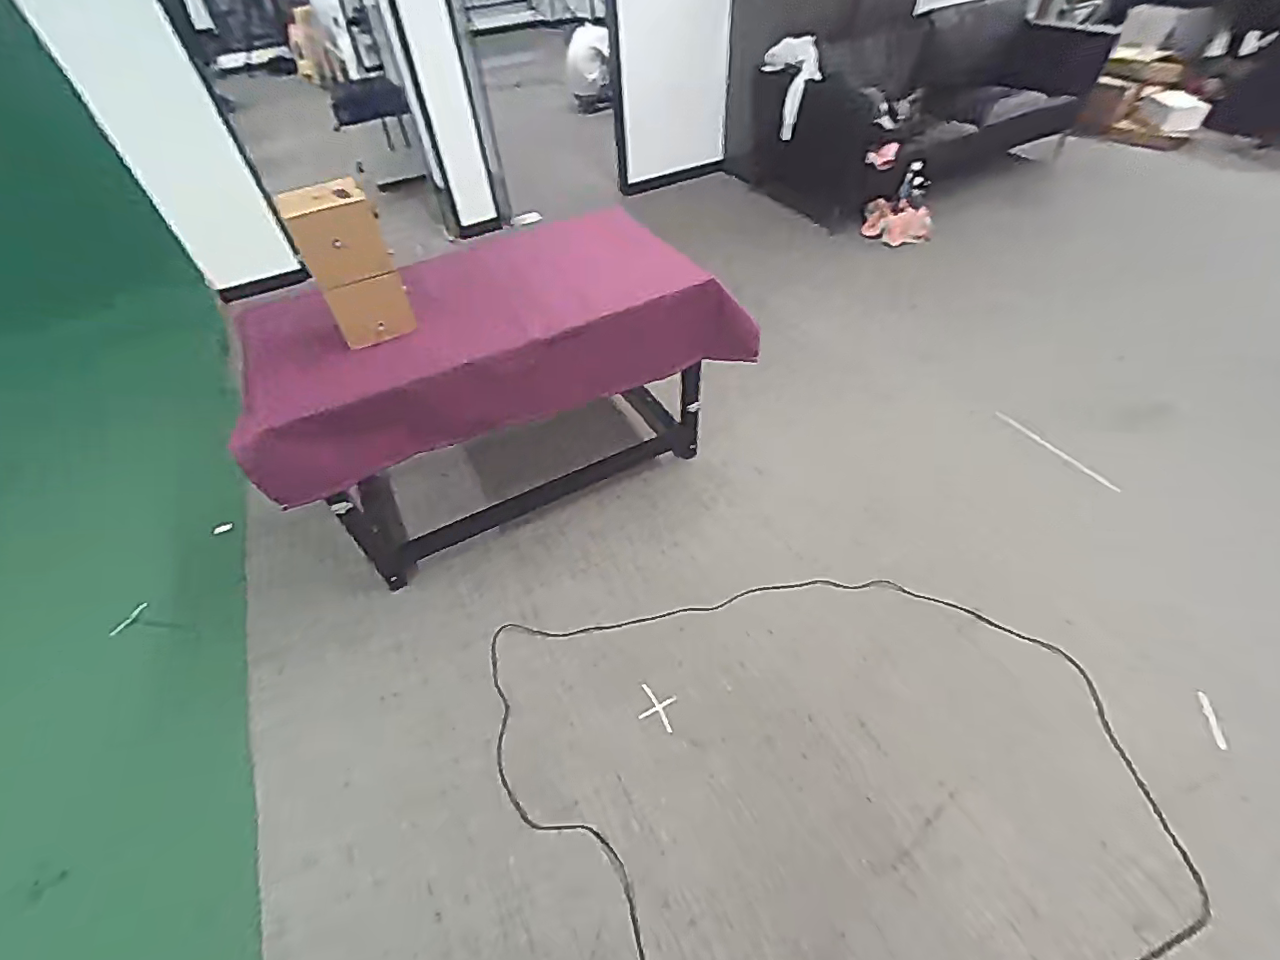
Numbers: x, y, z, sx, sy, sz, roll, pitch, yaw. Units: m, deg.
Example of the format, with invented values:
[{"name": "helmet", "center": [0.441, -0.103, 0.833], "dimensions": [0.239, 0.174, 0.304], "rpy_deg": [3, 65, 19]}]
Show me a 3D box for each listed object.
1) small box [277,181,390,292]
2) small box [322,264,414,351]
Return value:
[{"name": "small box", "center": [-0.713, -0.573, 1.275], "dimensions": [0.179, 0.176, 0.168], "rpy_deg": [-26, 52, -17]}, {"name": "small box", "center": [-0.705, -0.464, 1.398], "dimensions": [0.179, 0.176, 0.168], "rpy_deg": [-26, 52, -18]}]
